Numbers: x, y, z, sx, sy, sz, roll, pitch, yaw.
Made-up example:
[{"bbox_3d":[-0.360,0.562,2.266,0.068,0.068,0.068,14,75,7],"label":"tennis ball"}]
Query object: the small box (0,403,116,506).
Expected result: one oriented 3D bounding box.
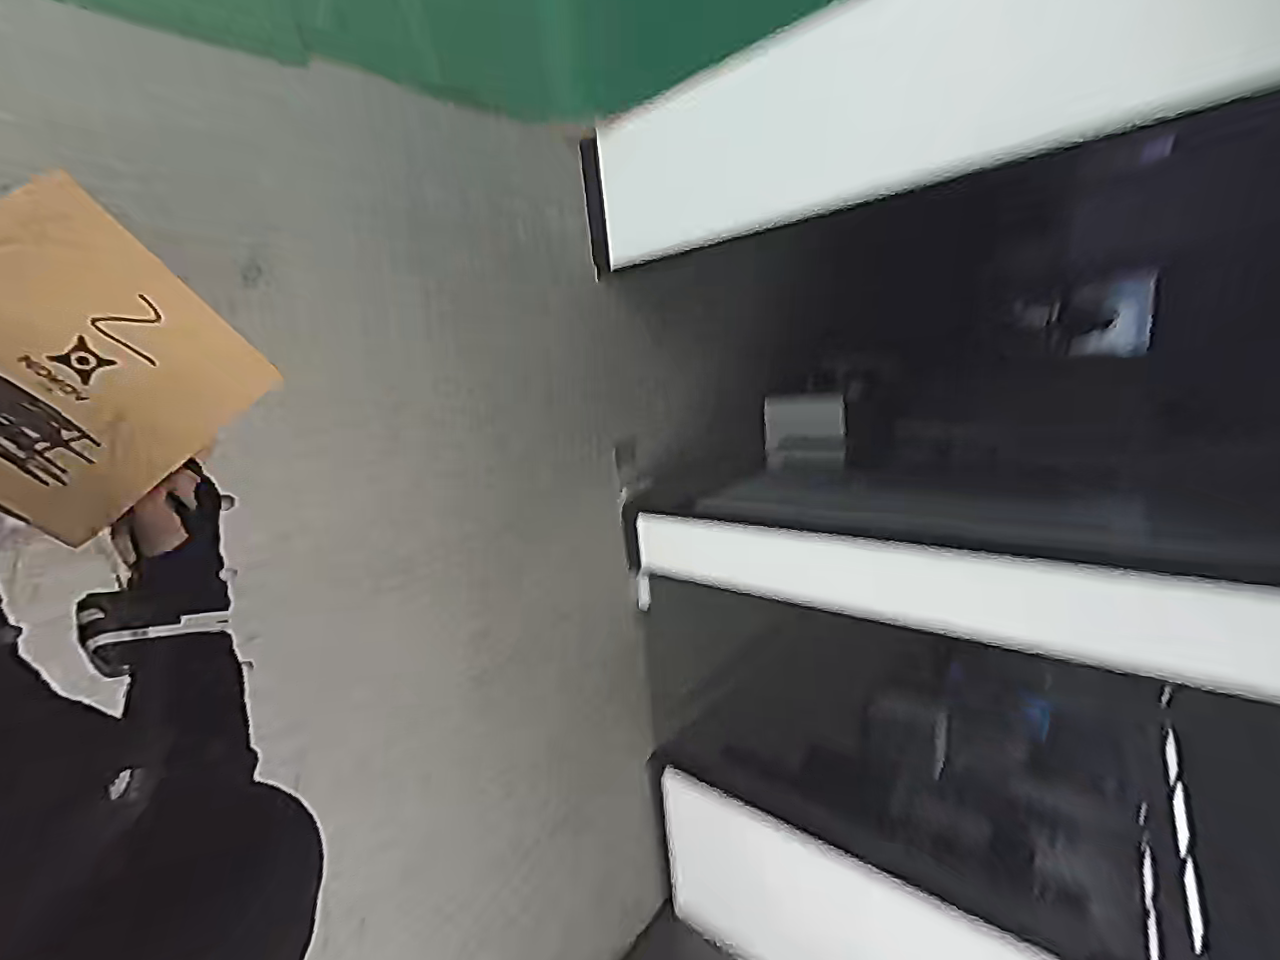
[{"bbox_3d":[-1.085,-0.051,0.963,0.179,0.176,0.168,-16,106,-50],"label":"small box"}]
